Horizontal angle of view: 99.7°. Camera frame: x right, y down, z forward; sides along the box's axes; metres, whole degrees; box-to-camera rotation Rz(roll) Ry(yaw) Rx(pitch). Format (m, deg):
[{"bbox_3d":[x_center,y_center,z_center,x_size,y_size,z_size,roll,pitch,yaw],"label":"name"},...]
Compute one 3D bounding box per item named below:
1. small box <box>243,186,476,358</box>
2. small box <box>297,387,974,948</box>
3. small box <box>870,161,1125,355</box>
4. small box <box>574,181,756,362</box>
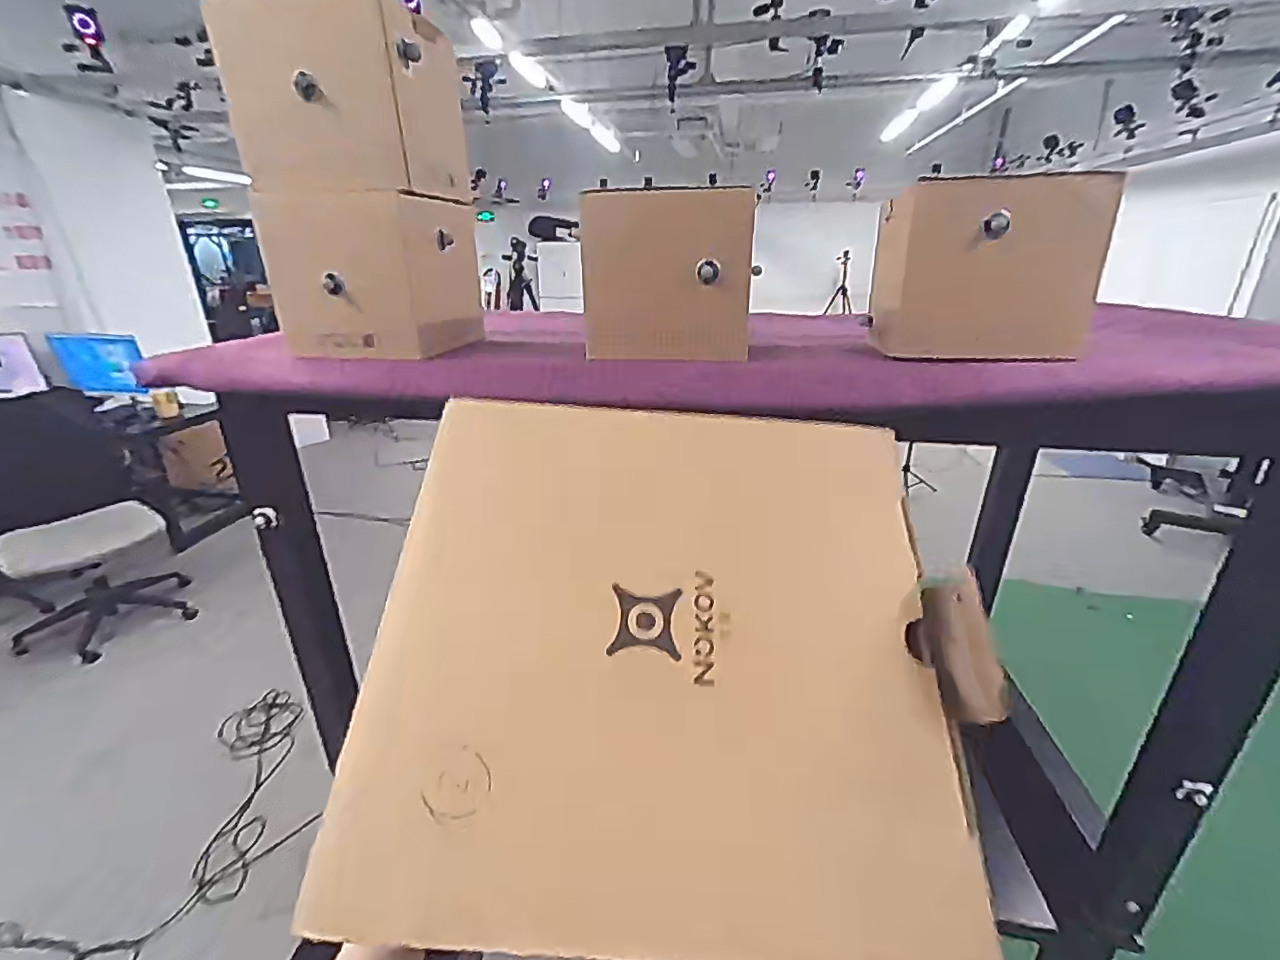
[{"bbox_3d":[-0.307,-0.243,0.639,0.168,0.176,0.179,4,23,7],"label":"small box"},{"bbox_3d":[0.002,0.078,0.244,0.179,0.176,0.168,4,61,0],"label":"small box"},{"bbox_3d":[0.356,-0.228,0.584,0.179,0.176,0.168,4,21,11],"label":"small box"},{"bbox_3d":[0.035,-0.233,0.614,0.179,0.176,0.168,2,22,8],"label":"small box"}]
